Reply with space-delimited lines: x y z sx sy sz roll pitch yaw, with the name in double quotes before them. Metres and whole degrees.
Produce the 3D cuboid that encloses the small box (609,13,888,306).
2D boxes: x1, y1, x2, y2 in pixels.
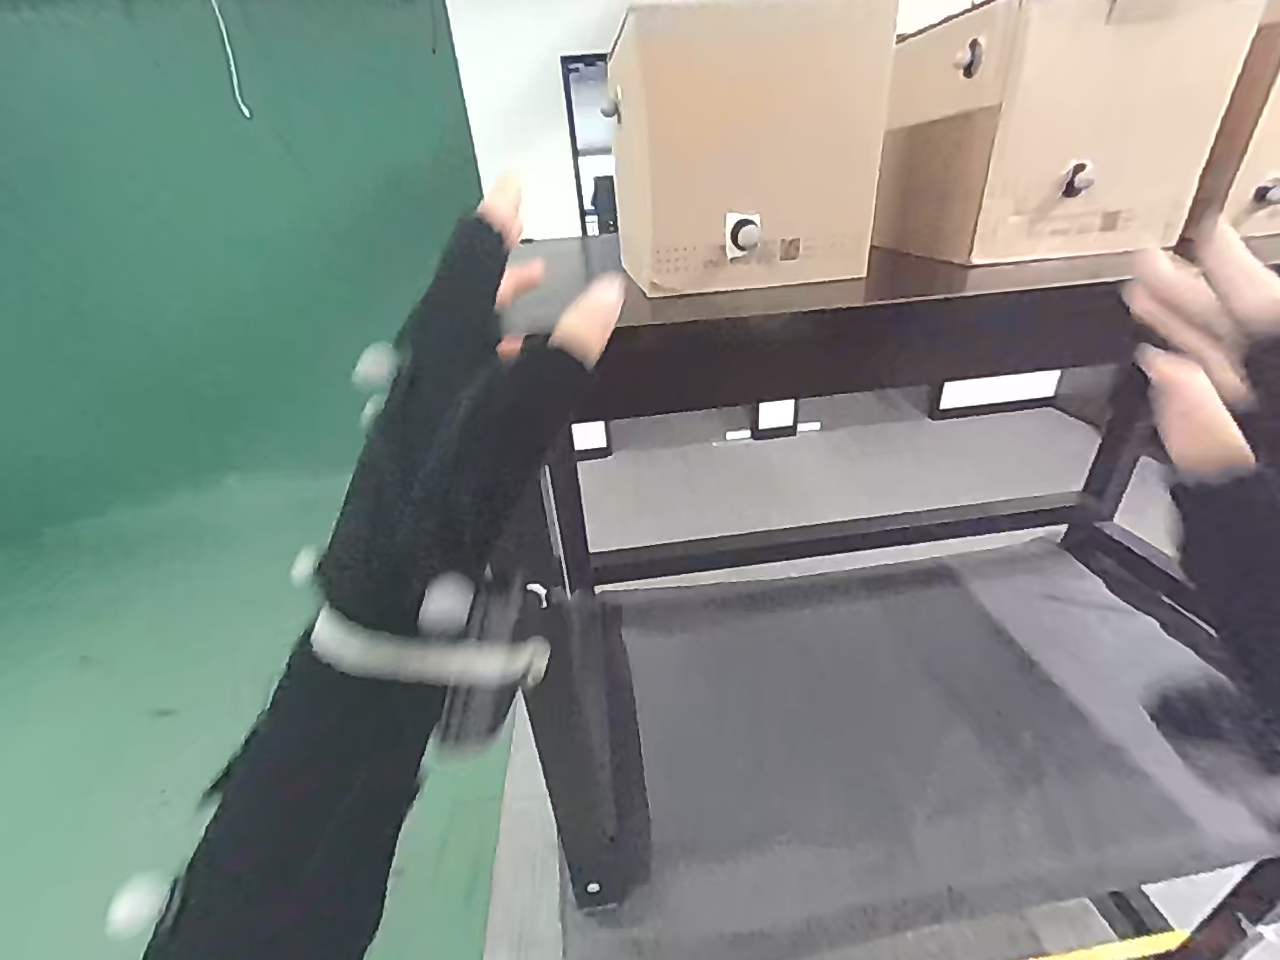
"small box" 0.069 -0.245 0.438 0.168 0.176 0.179 -8 30 -5
